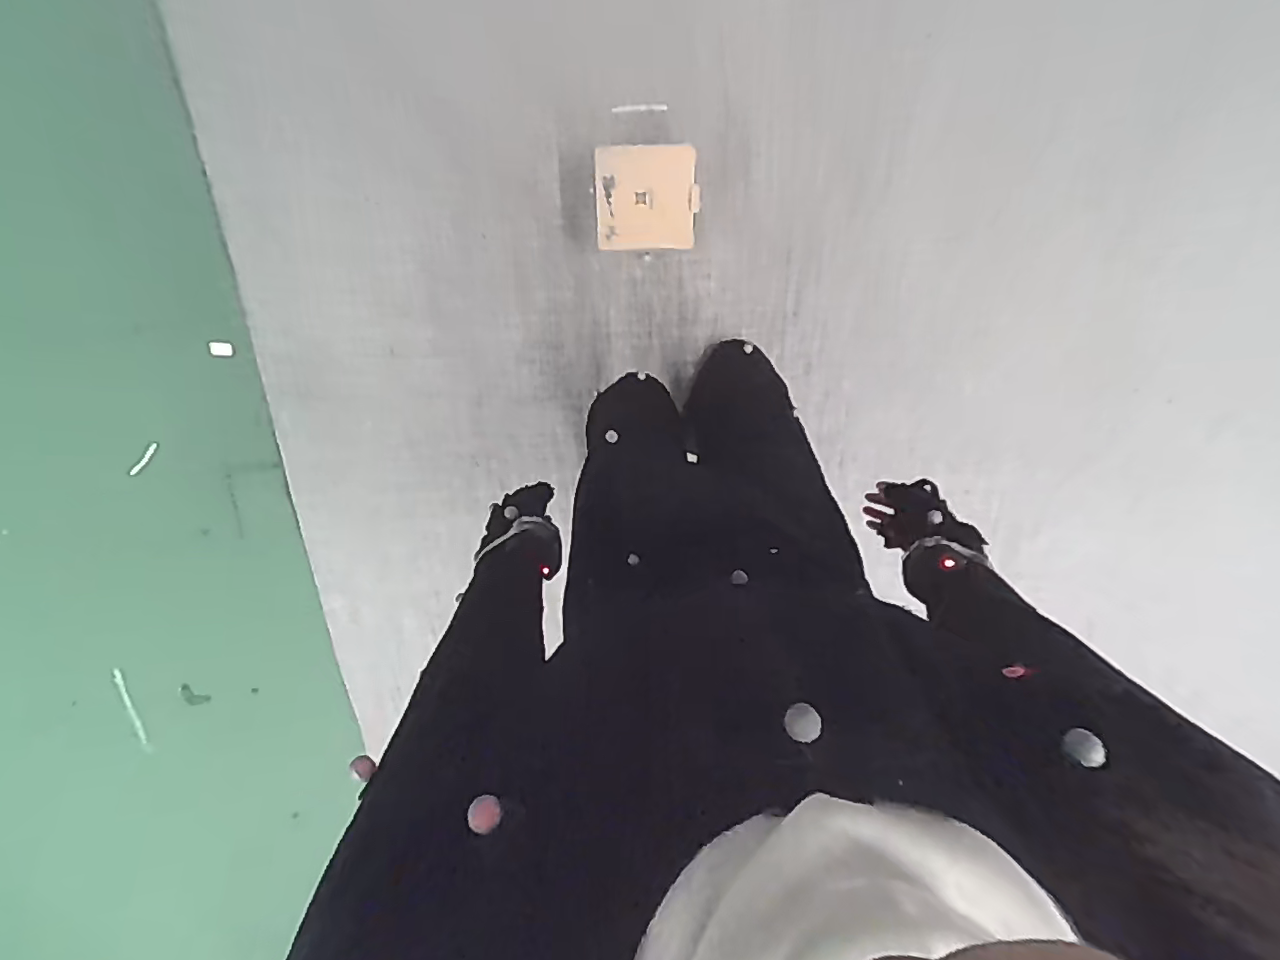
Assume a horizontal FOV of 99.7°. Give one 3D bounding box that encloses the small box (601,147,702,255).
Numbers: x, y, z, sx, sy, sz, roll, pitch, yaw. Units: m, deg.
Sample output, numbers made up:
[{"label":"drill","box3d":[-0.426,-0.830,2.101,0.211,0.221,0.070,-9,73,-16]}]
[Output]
[{"label":"small box","box3d":[0.020,-0.521,1.027,0.179,0.176,0.168,2,111,2]}]
